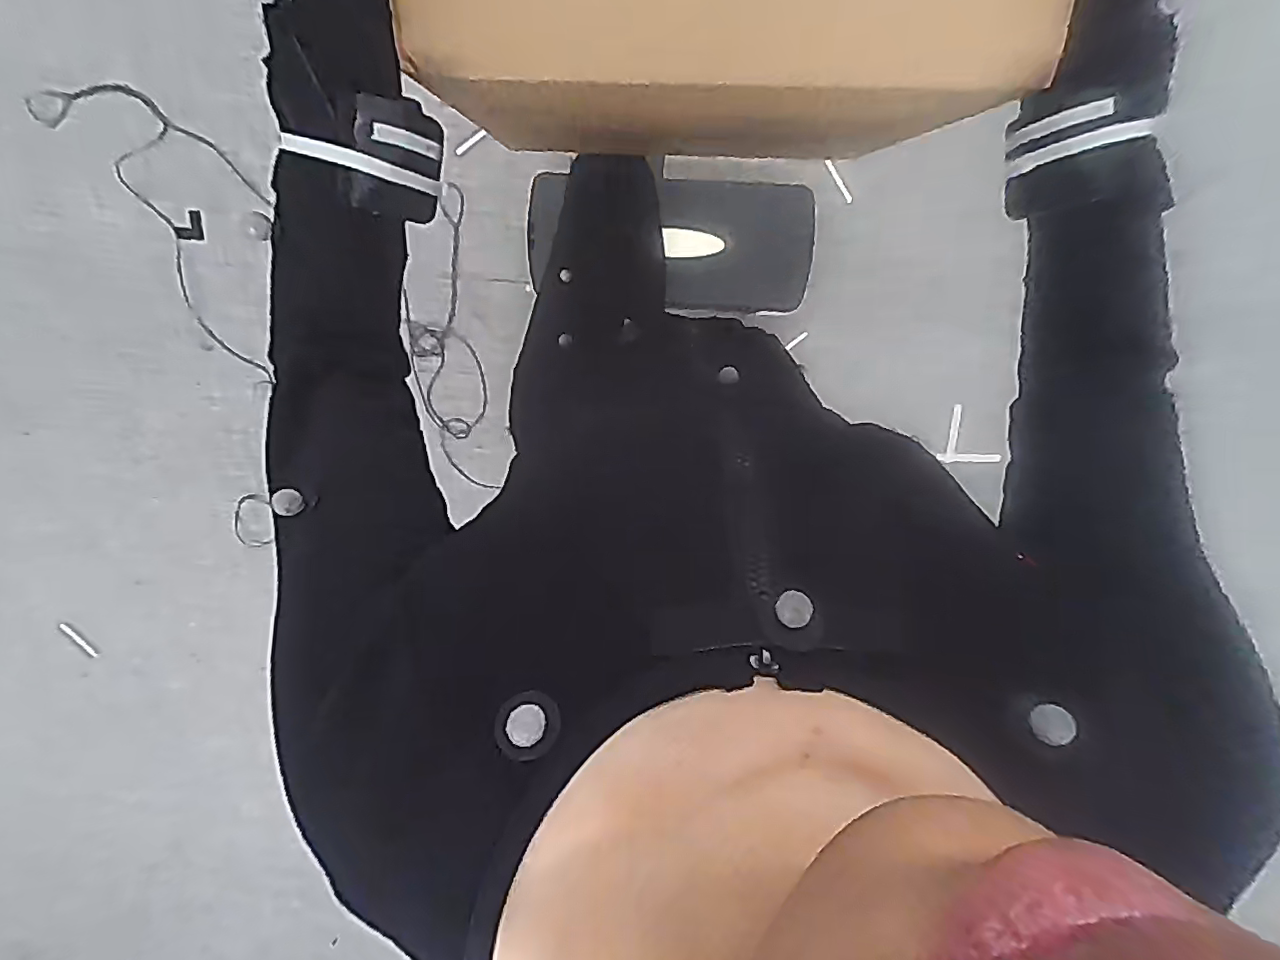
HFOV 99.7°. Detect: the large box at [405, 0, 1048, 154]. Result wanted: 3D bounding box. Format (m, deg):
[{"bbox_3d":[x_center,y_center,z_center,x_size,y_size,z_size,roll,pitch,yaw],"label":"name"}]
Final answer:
[{"bbox_3d":[0.050,-0.459,0.423,0.408,0.320,0.320,0,114,-2],"label":"large box"}]
